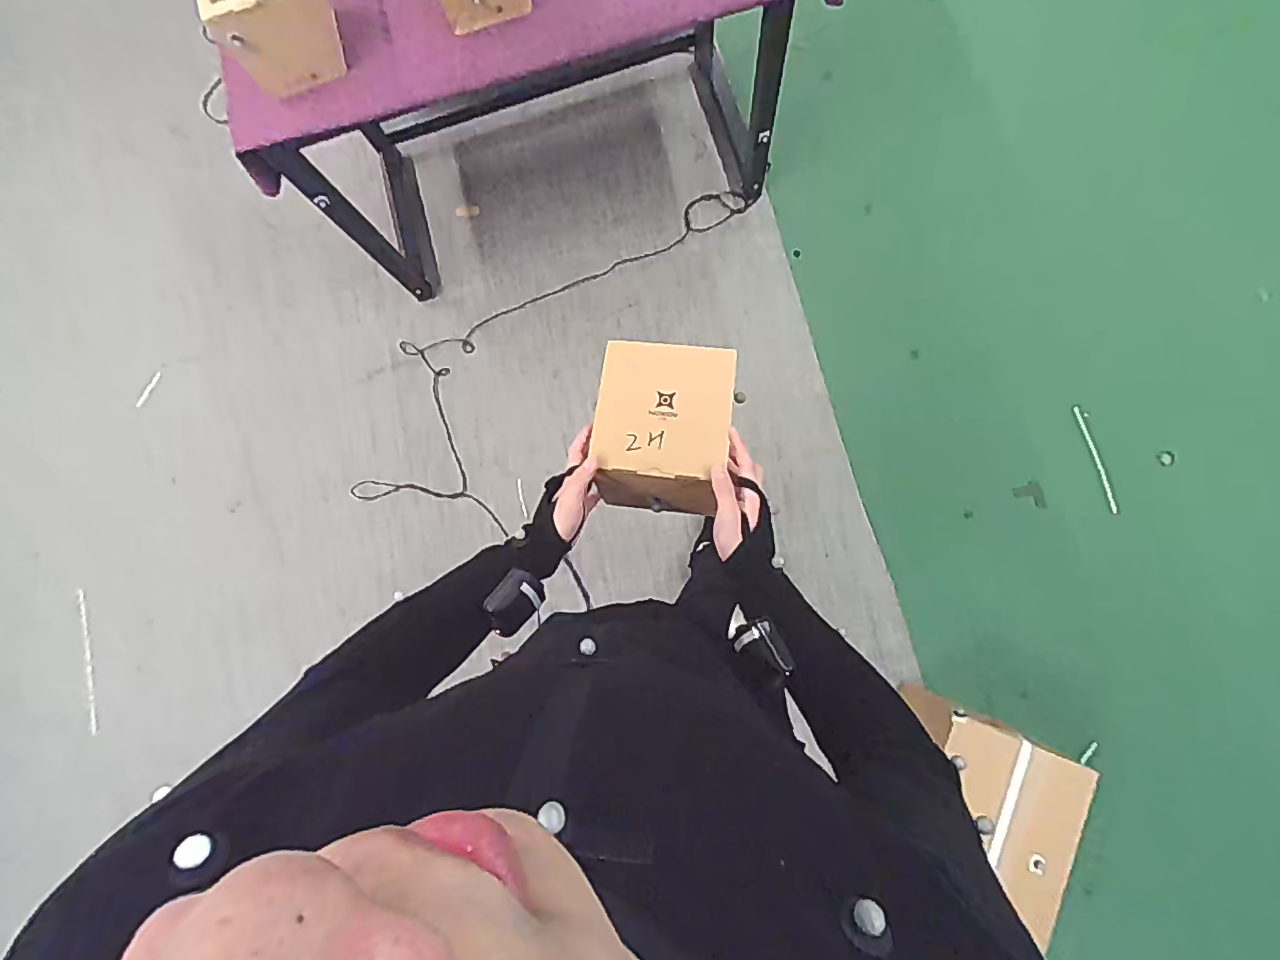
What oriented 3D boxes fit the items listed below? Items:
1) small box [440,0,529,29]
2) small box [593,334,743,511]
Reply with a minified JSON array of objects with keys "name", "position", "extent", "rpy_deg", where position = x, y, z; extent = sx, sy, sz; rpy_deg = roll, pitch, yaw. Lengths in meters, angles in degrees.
[{"name":"small box","position":[-0.320,-1.003,1.003],"extent":[0.168,0.176,0.179],"rpy_deg":[-14,81,3]},{"name":"small box","position":[0.040,-0.070,0.727],"extent":[0.168,0.176,0.179],"rpy_deg":[6,73,6]}]
